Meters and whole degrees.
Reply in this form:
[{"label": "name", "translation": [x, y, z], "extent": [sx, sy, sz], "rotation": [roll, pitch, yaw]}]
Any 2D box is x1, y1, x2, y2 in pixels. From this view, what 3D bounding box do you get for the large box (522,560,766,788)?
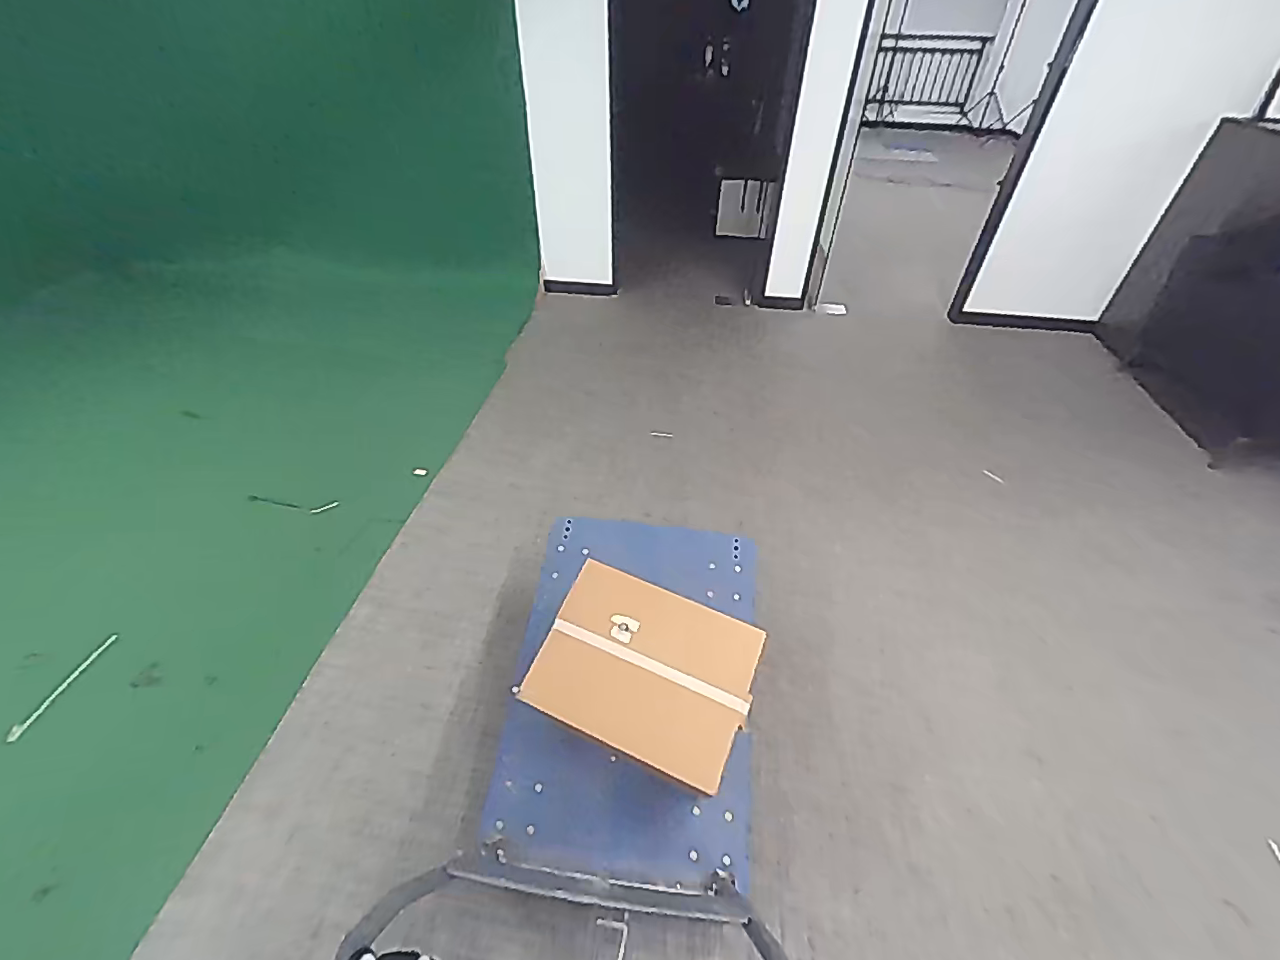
[{"label": "large box", "translation": [0.022, 0.429, 1.179], "extent": [0.408, 0.320, 0.320], "rotation": [20, 62, 14]}]
